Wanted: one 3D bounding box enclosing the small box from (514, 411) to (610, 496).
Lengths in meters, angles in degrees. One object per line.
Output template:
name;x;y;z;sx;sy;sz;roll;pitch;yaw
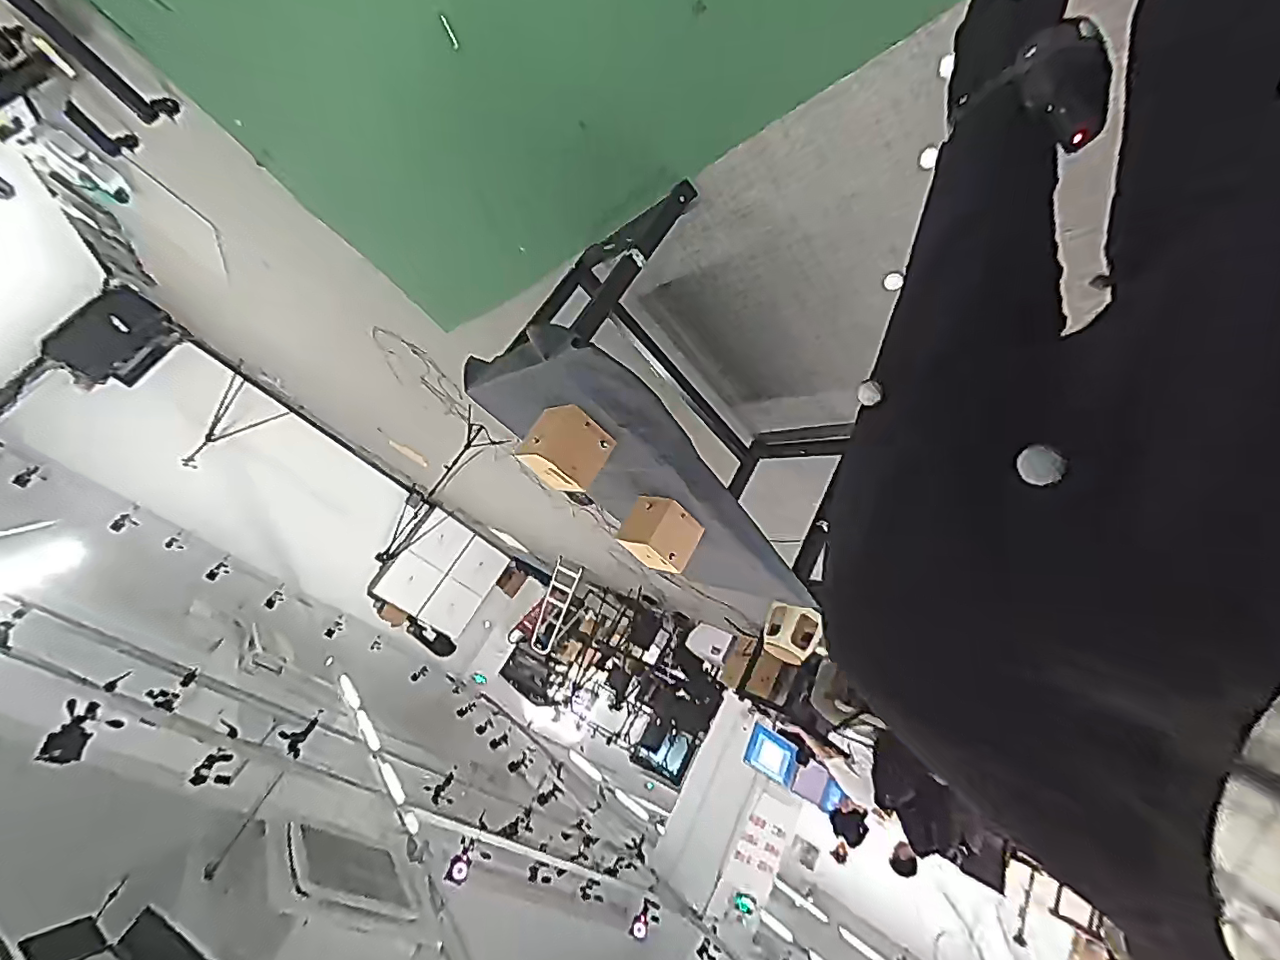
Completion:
small box;-0.205;-0.073;1.470;0.168;0.176;0.179;43;158;-29

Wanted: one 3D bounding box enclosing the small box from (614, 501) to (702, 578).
small box;0.059;0.178;1.682;0.168;0.176;0.179;43;157;-29
